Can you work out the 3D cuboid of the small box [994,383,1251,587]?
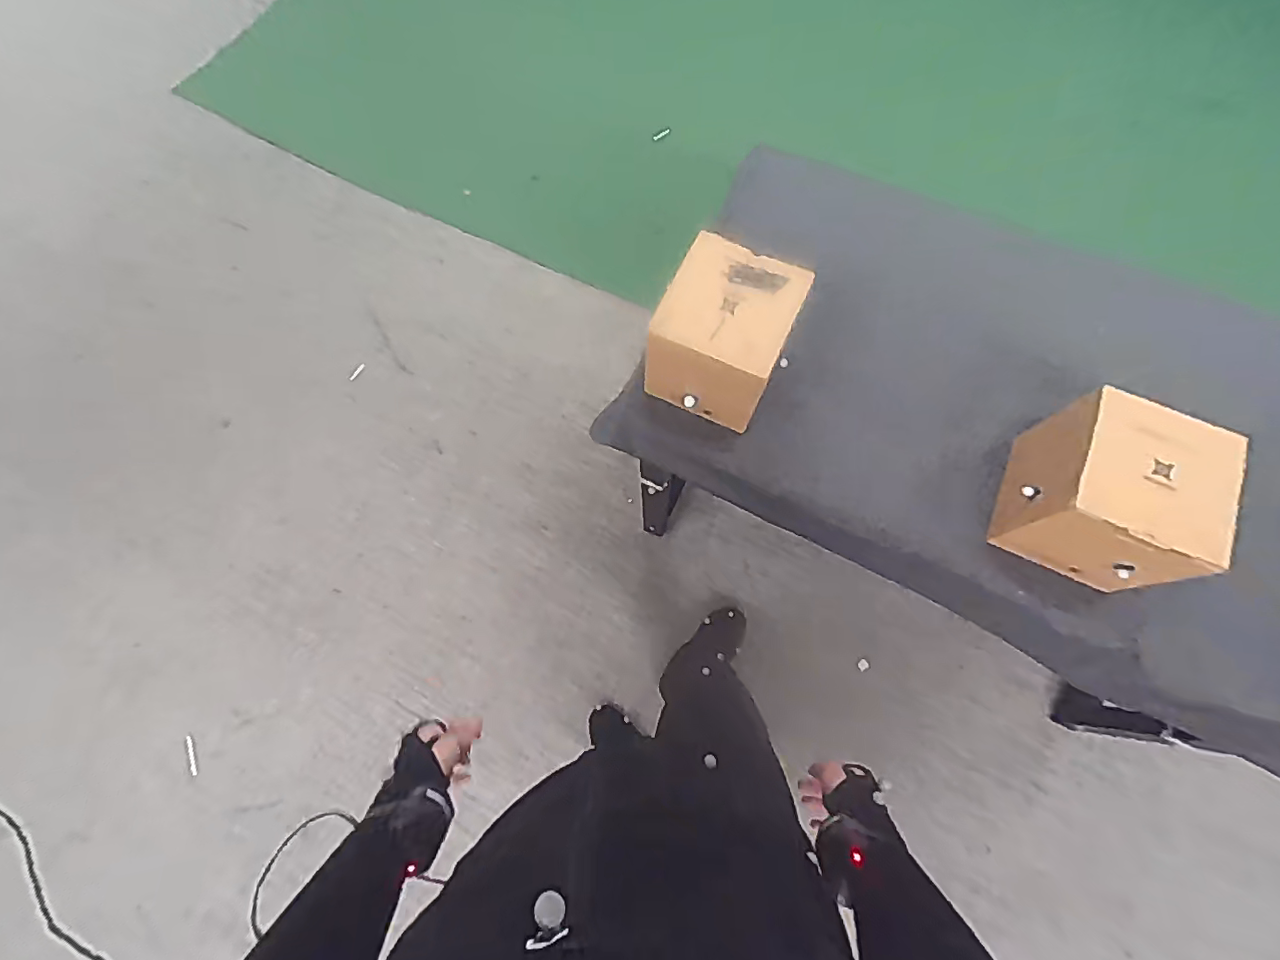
[{"bbox_3d":[0.586,0.017,0.679,0.168,0.176,0.179,25,71,7],"label":"small box"}]

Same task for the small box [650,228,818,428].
[{"bbox_3d":[0.119,-0.203,0.756,0.168,0.176,0.179,25,73,9],"label":"small box"}]
